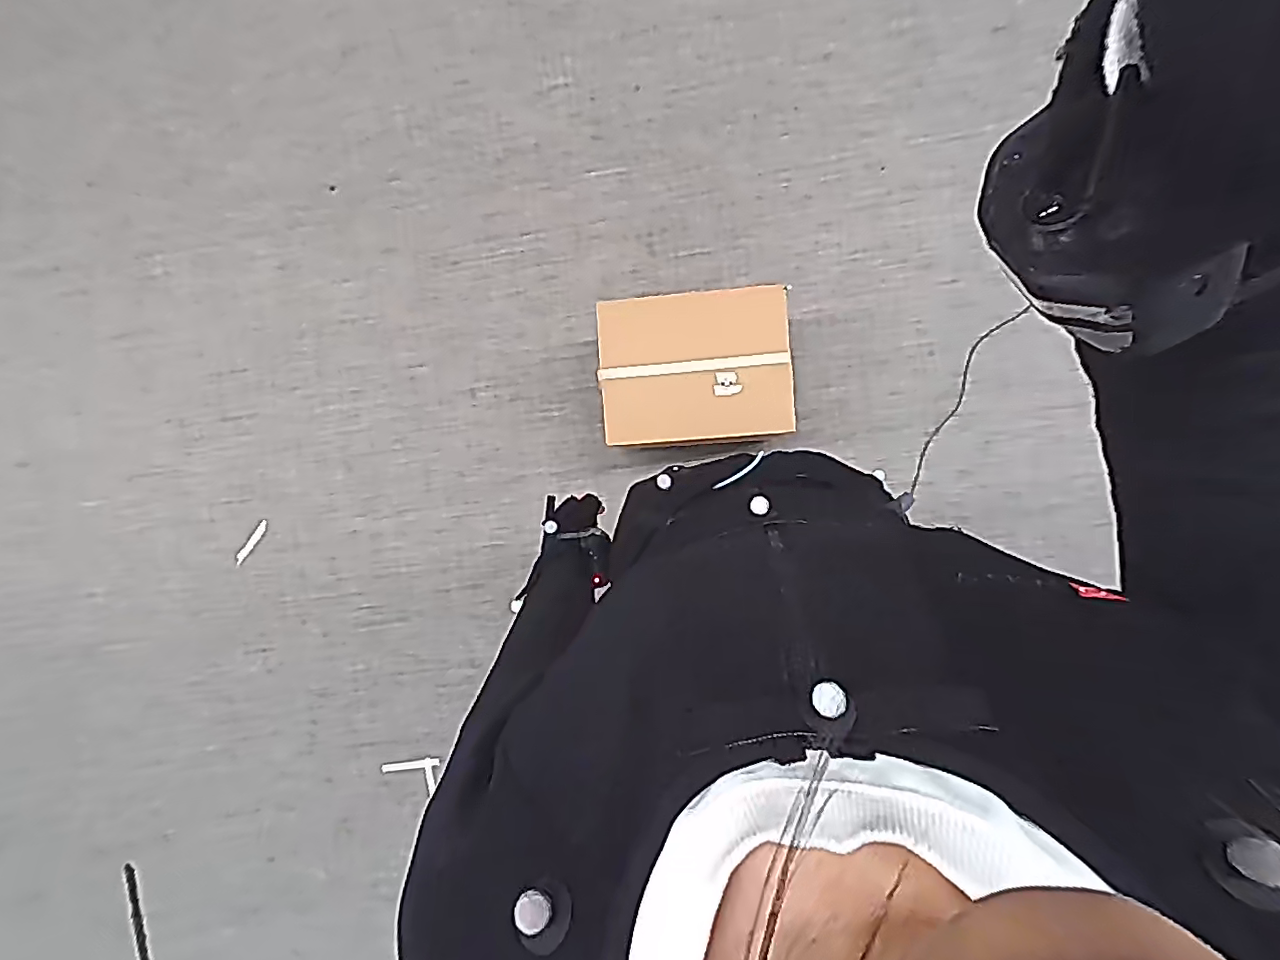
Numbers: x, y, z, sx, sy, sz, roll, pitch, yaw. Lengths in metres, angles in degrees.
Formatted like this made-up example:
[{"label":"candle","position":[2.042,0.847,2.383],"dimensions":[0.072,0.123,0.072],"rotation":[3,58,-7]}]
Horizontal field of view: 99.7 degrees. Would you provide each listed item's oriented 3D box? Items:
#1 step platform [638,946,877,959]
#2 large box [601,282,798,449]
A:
[{"label":"step platform","position":[0.310,1.426,1.385],"dimensions":[0.684,0.204,0.286],"rotation":[-8,91,7]},{"label":"large box","position":[0.136,-0.250,1.301],"dimensions":[0.408,0.320,0.320],"rotation":[-4,92,5]}]
